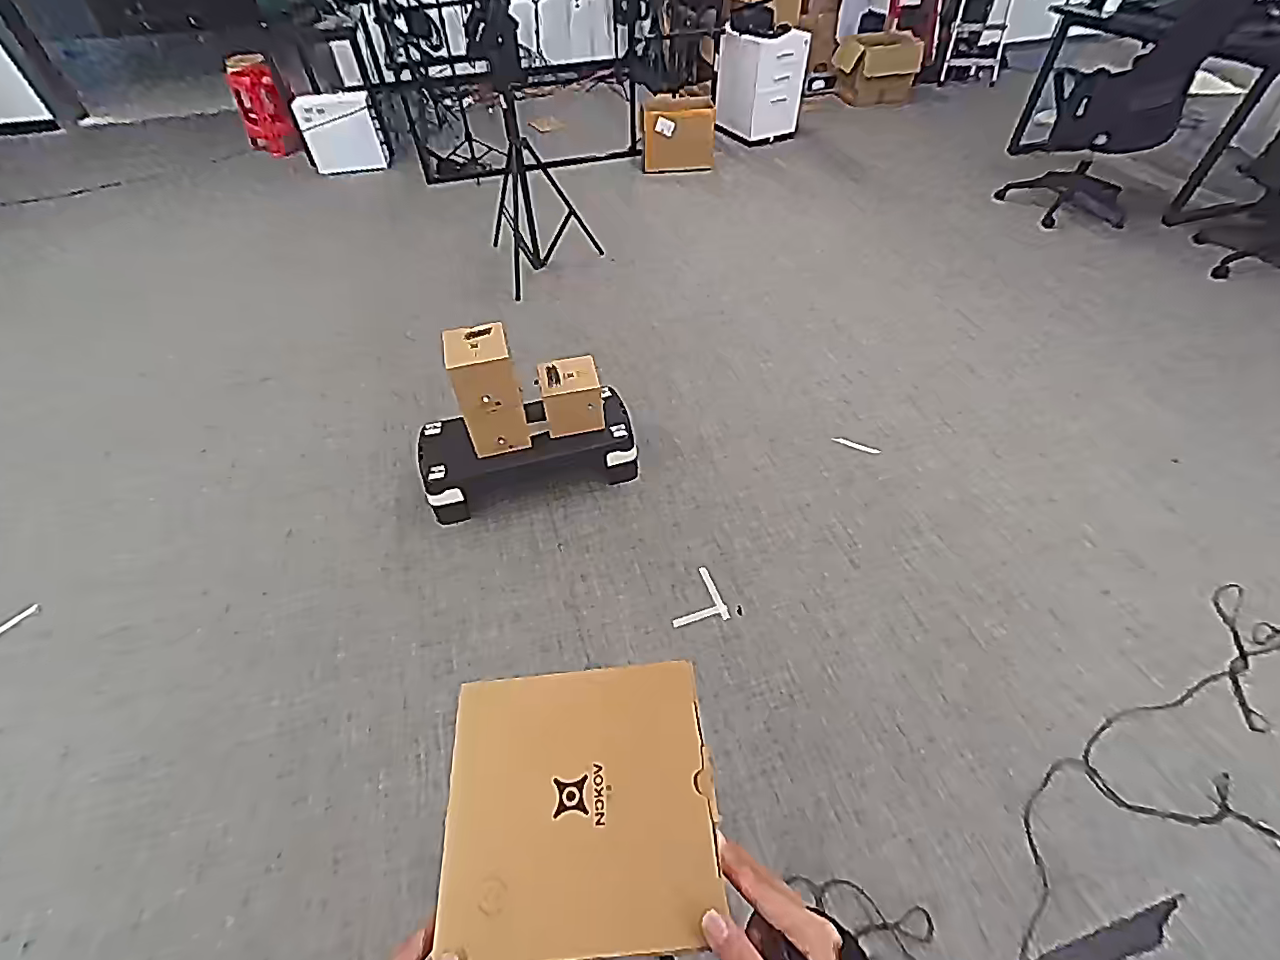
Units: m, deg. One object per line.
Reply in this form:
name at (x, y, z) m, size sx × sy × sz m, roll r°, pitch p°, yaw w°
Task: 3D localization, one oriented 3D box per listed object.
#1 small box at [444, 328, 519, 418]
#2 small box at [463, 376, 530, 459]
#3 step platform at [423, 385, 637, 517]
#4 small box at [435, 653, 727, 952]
small box at (-0.446, -0.301, 1.526) m, size 0.168 × 0.176 × 0.179 m, roll -13°, pitch 50°, yaw -9°
small box at (-0.438, -0.190, 1.647) m, size 0.168 × 0.176 × 0.179 m, roll -13°, pitch 50°, yaw -8°
step platform at (-0.359, -0.107, 1.803) m, size 0.684 × 0.204 × 0.286 m, roll -14°, pitch 49°, yaw -10°
small box at (-0.034, 0.252, 0.424) m, size 0.179 × 0.176 × 0.168 m, roll -6°, pitch 53°, yaw 0°
